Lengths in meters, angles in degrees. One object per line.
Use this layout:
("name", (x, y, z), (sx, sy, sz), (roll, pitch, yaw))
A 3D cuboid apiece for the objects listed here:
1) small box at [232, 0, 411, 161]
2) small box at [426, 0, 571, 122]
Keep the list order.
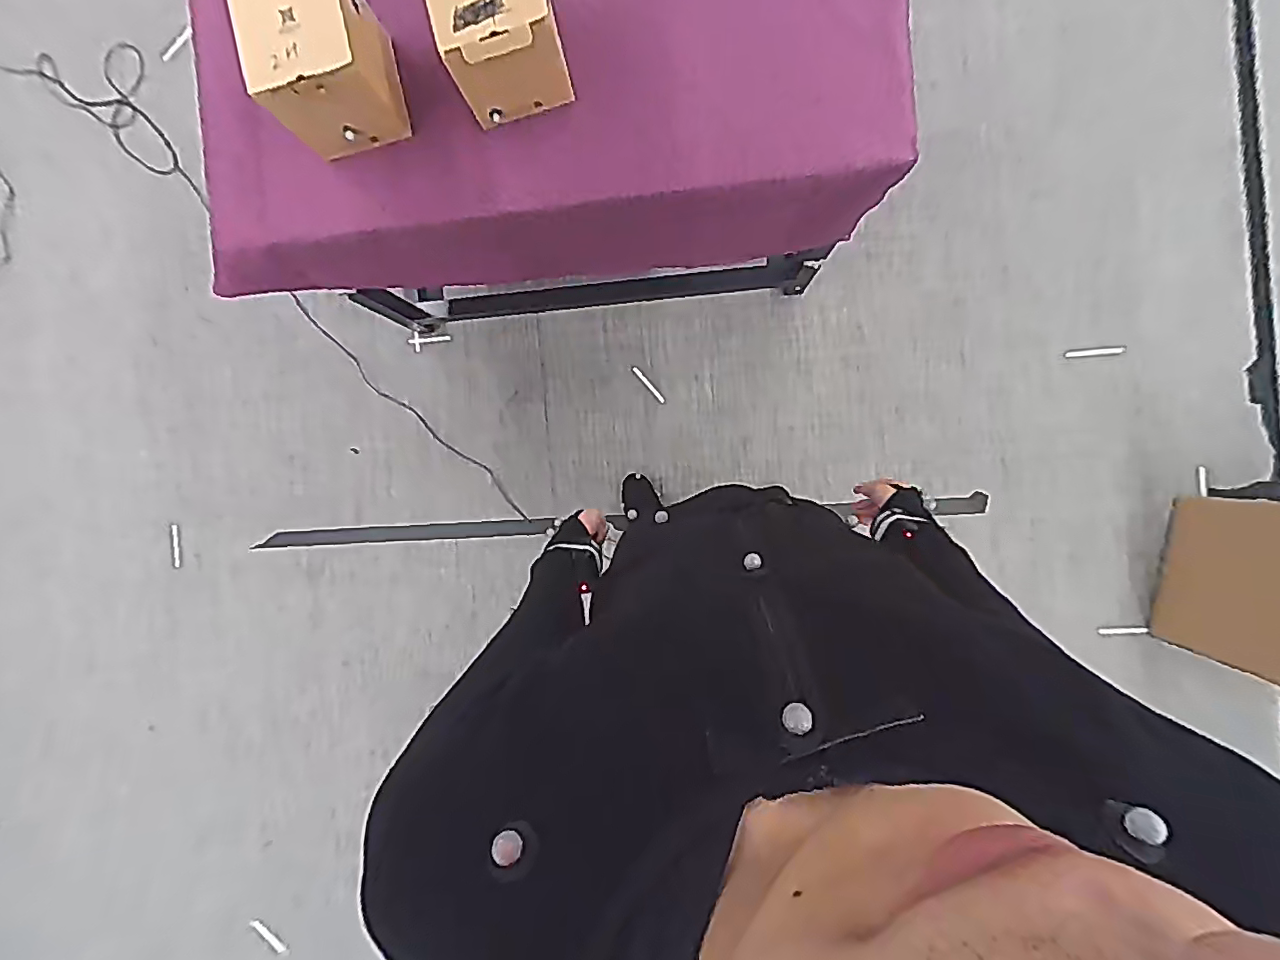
("small box", (-0.494, -0.654, 0.859), (0.168, 0.176, 0.179), (-12, 90, 5))
("small box", (-0.215, -0.696, 0.837), (0.168, 0.176, 0.179), (-14, 89, 5))
